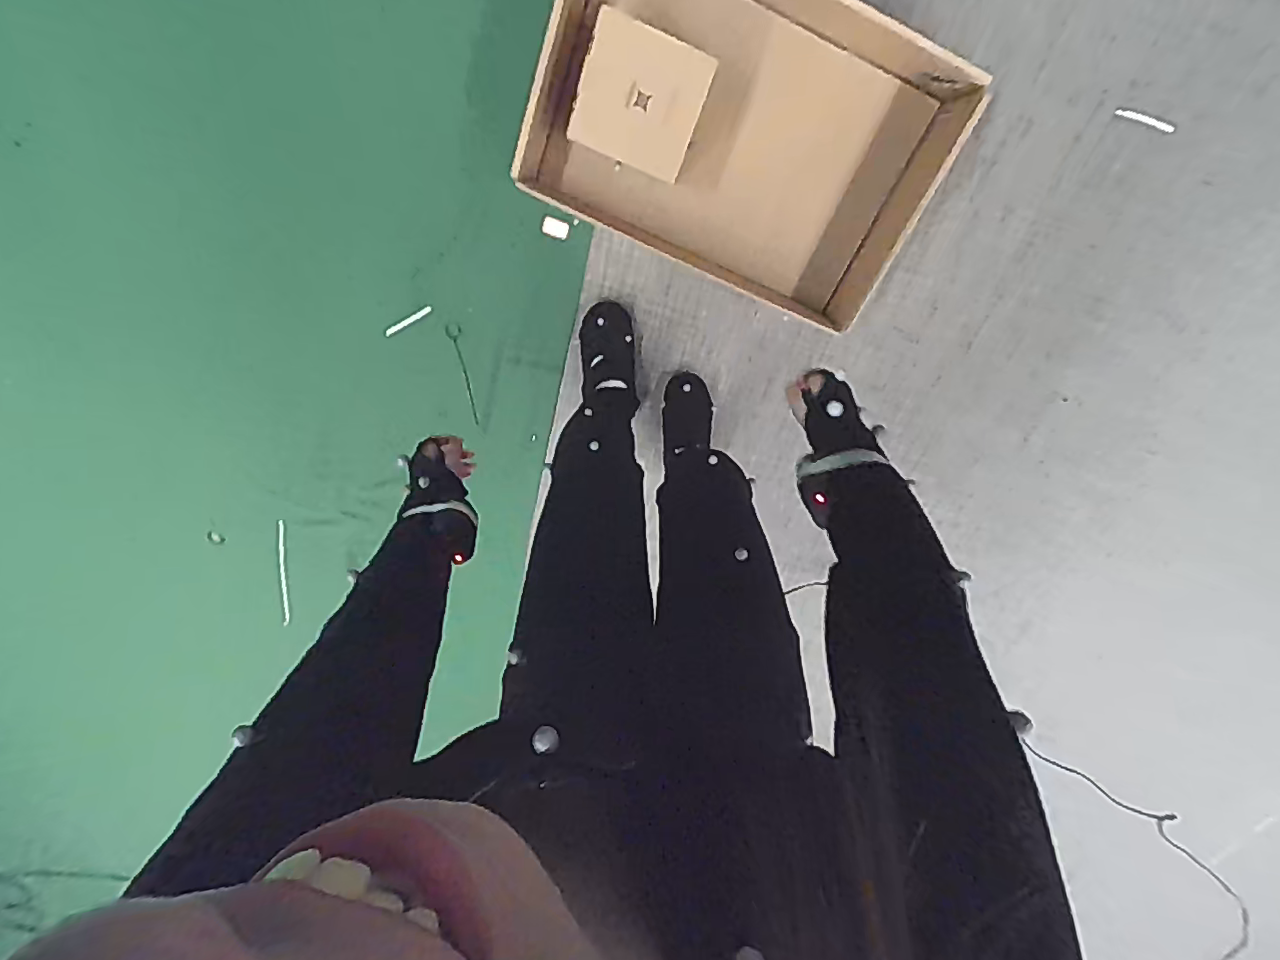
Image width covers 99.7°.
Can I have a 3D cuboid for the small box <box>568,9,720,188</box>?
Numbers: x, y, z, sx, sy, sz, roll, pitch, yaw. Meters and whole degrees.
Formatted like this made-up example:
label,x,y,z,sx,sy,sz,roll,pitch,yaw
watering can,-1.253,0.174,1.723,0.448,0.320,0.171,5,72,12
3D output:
label,x,y,z,sx,sy,sz,roll,pitch,yaw
small box,0.006,-0.575,0.842,0.179,0.176,0.168,21,118,-8
